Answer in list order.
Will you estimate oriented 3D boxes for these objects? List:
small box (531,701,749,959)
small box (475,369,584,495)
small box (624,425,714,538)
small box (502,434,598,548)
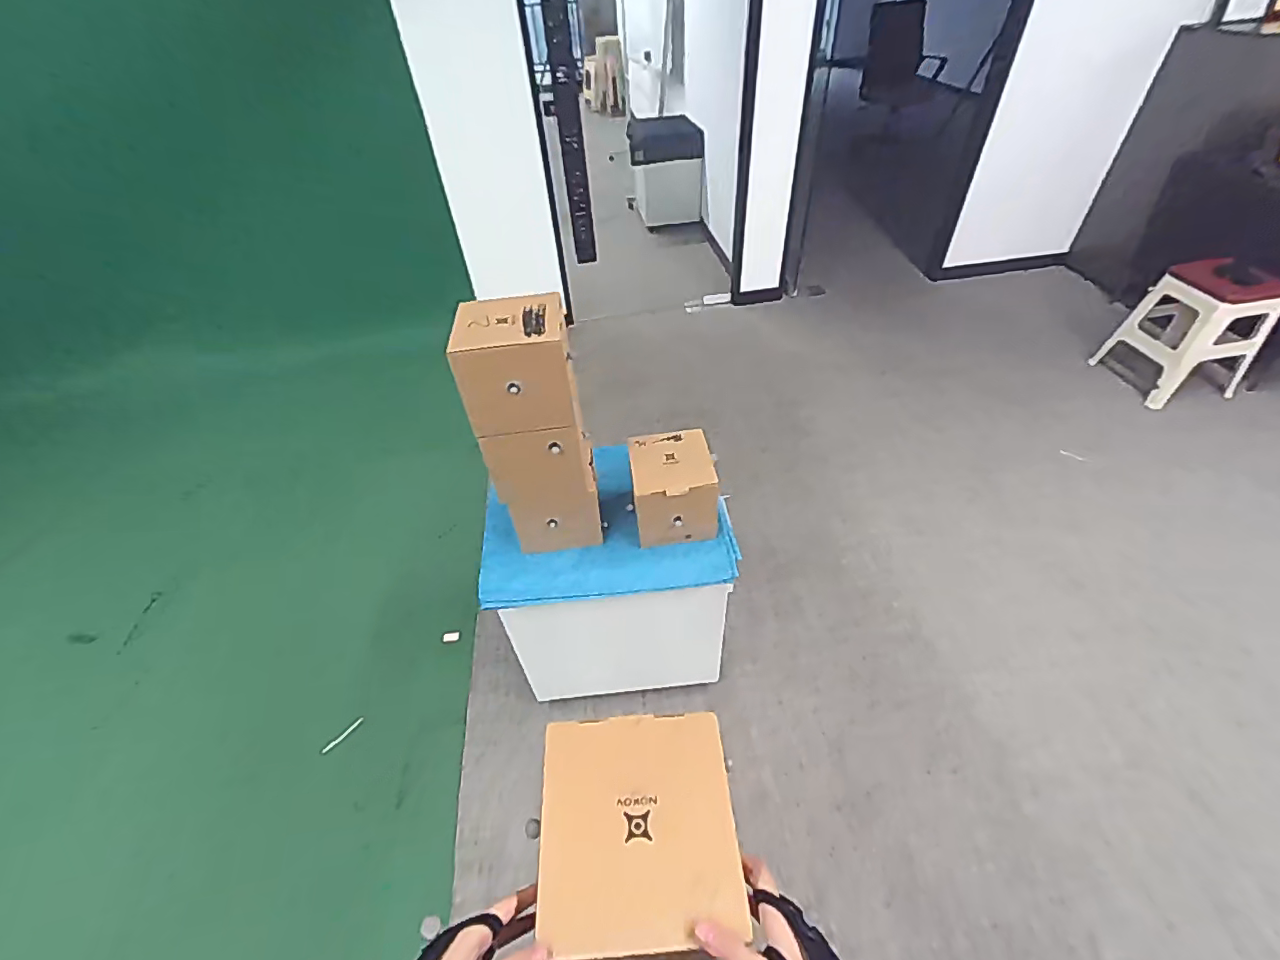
[{"bbox_3d":[-0.004,0.334,0.511,0.168,0.176,0.179,-2,43,-4],"label":"small box"},{"bbox_3d":[-0.199,-0.090,1.030,0.179,0.176,0.168,-7,44,-3],"label":"small box"},{"bbox_3d":[0.060,0.009,1.145,0.168,0.176,0.179,-6,45,-3],"label":"small box"},{"bbox_3d":[-0.182,0.025,1.147,0.179,0.176,0.168,-7,44,-3],"label":"small box"}]
